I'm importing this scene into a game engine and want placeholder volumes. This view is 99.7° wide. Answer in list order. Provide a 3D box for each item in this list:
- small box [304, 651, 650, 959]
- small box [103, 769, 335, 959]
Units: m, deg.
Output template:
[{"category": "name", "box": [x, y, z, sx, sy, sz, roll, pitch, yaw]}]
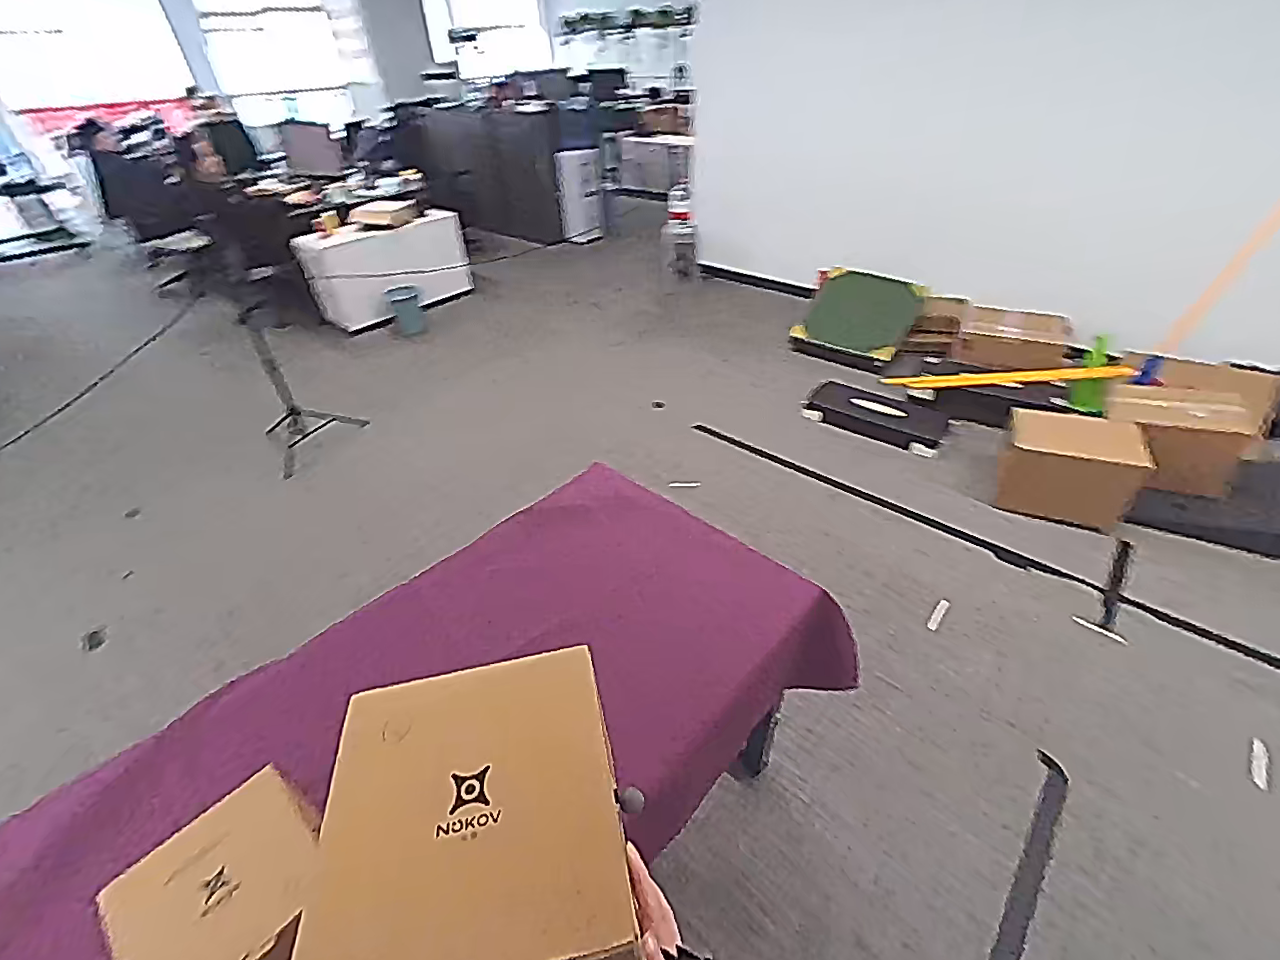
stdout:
[{"category": "small box", "box": [-0.089, 0.249, 0.364, 0.168, 0.176, 0.179, -9, 38, -7]}, {"category": "small box", "box": [-0.415, 0.469, 0.588, 0.179, 0.176, 0.168, 27, 47, 32]}]
